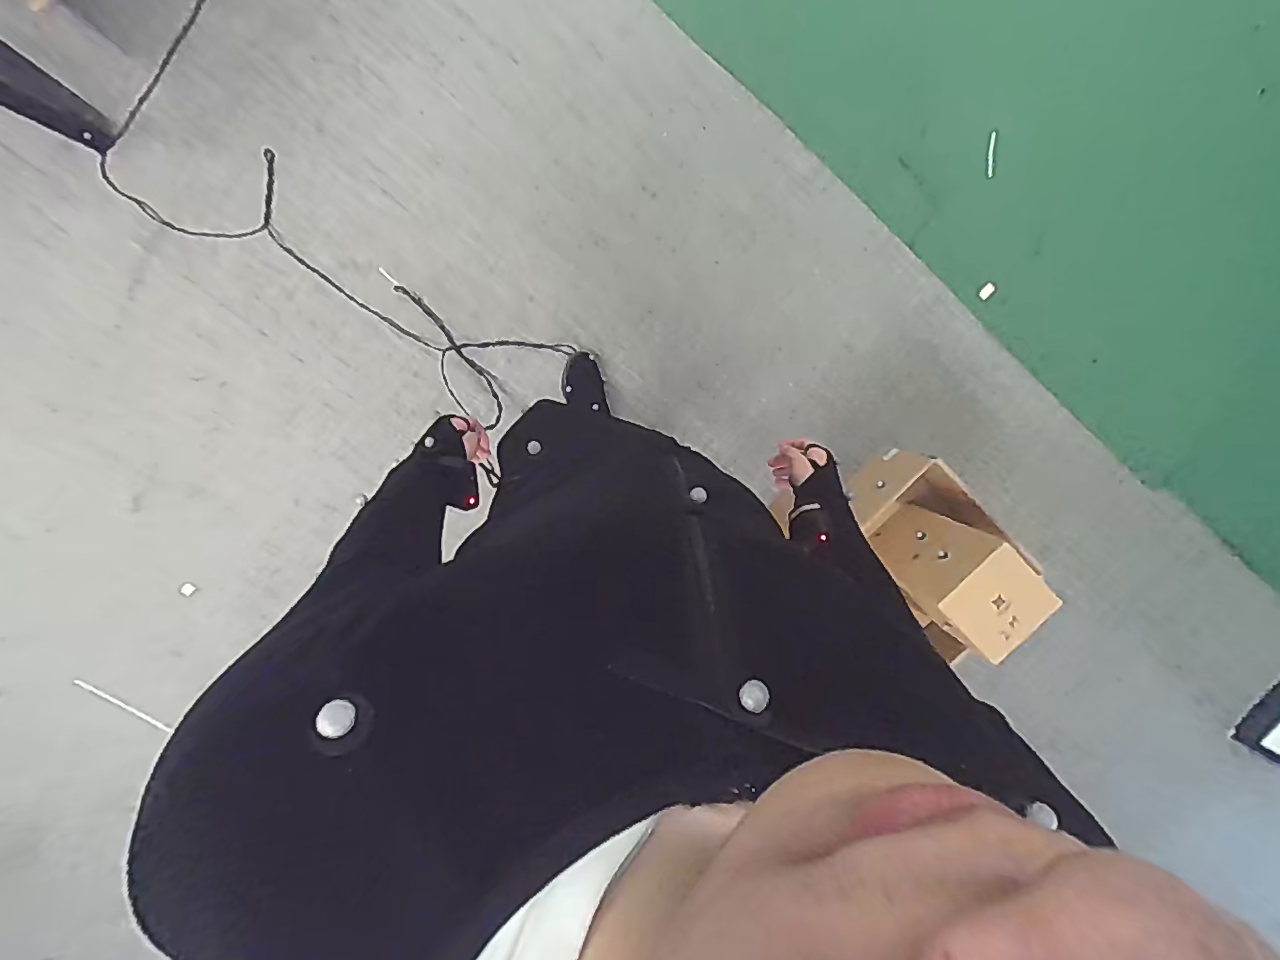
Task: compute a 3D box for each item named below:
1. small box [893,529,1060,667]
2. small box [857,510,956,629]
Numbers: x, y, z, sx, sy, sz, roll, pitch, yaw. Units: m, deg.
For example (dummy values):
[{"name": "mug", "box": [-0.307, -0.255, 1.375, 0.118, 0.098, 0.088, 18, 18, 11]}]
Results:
[{"name": "small box", "box": [0.633, 0.214, 1.042, 0.179, 0.176, 0.168, 44, 95, -10]}, {"name": "small box", "box": [0.628, 0.189, 1.204, 0.168, 0.176, 0.179, -44, 101, 2]}]
